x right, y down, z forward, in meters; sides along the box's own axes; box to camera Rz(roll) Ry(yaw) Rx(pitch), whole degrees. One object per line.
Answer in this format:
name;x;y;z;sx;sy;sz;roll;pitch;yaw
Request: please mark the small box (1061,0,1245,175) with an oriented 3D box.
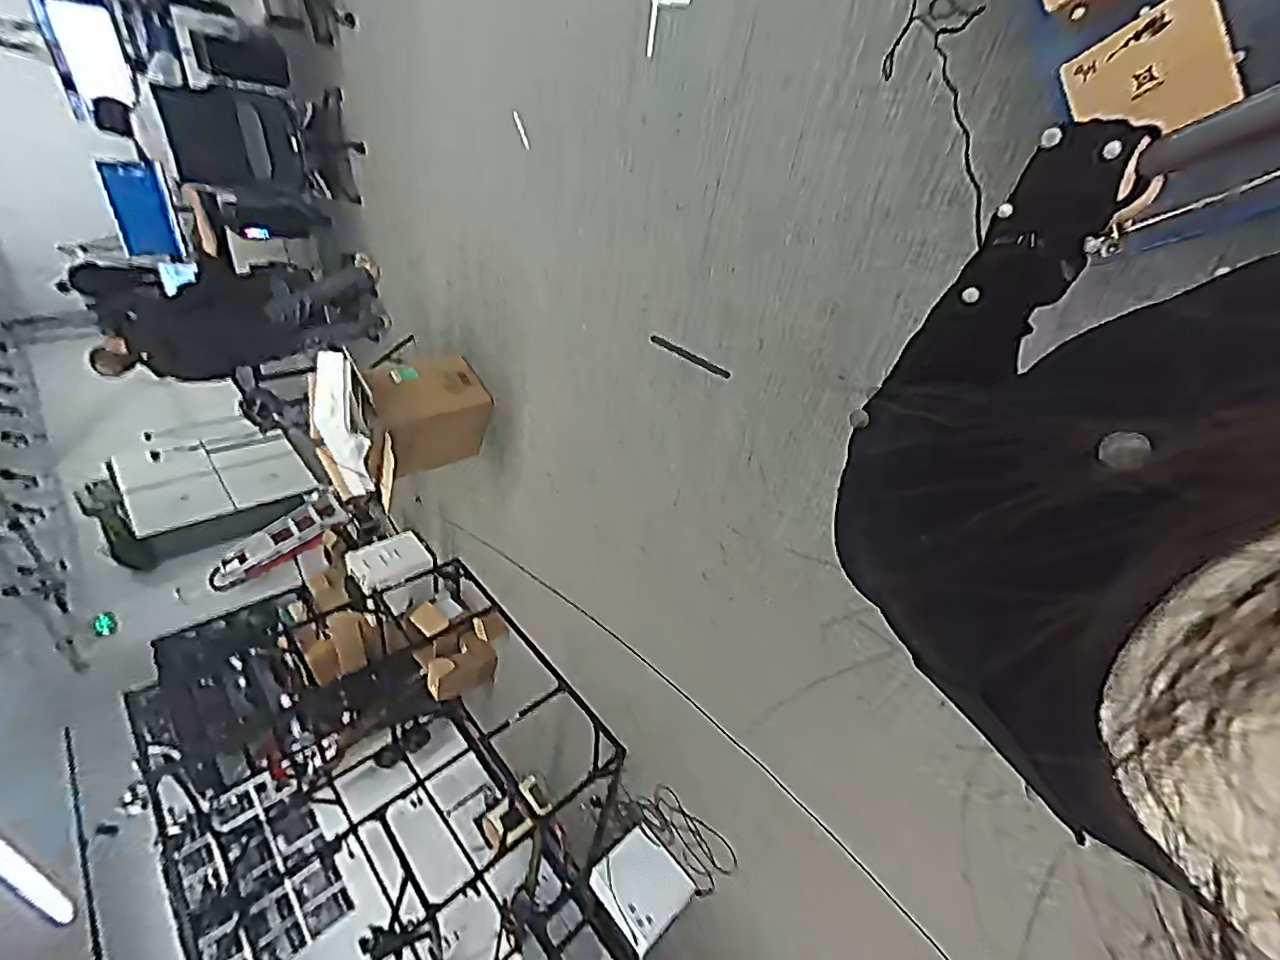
small box;0.777;-0.592;0.819;0.168;0.176;0.179;-17;96;49
